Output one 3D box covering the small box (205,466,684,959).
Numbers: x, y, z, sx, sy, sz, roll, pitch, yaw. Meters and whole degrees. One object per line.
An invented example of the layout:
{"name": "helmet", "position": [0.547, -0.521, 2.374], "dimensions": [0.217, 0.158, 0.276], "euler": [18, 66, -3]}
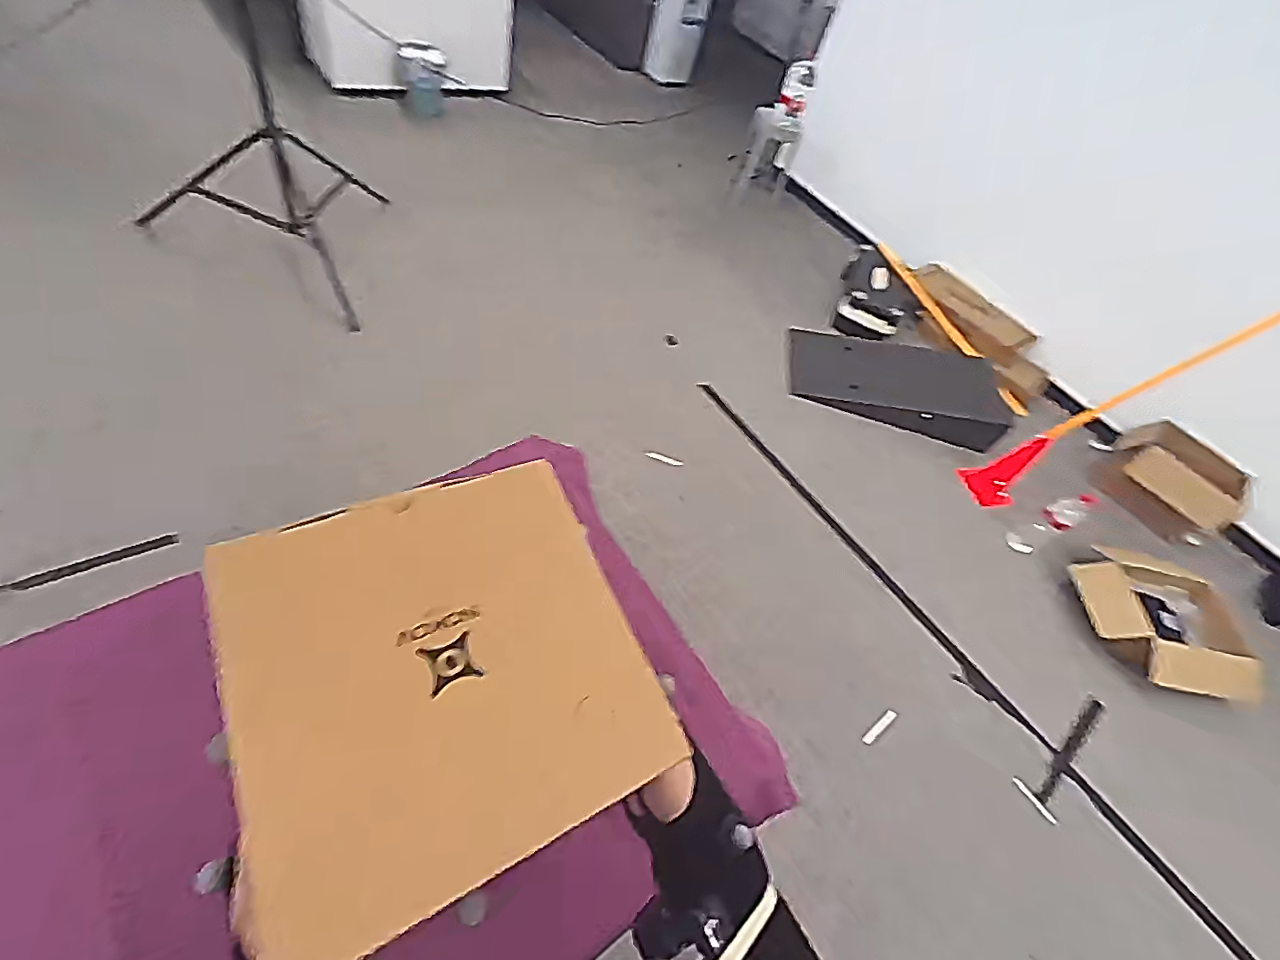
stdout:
{"name": "small box", "position": [-0.105, 0.125, 0.304], "dimensions": [0.168, 0.176, 0.179], "euler": [-17, 62, -27]}
